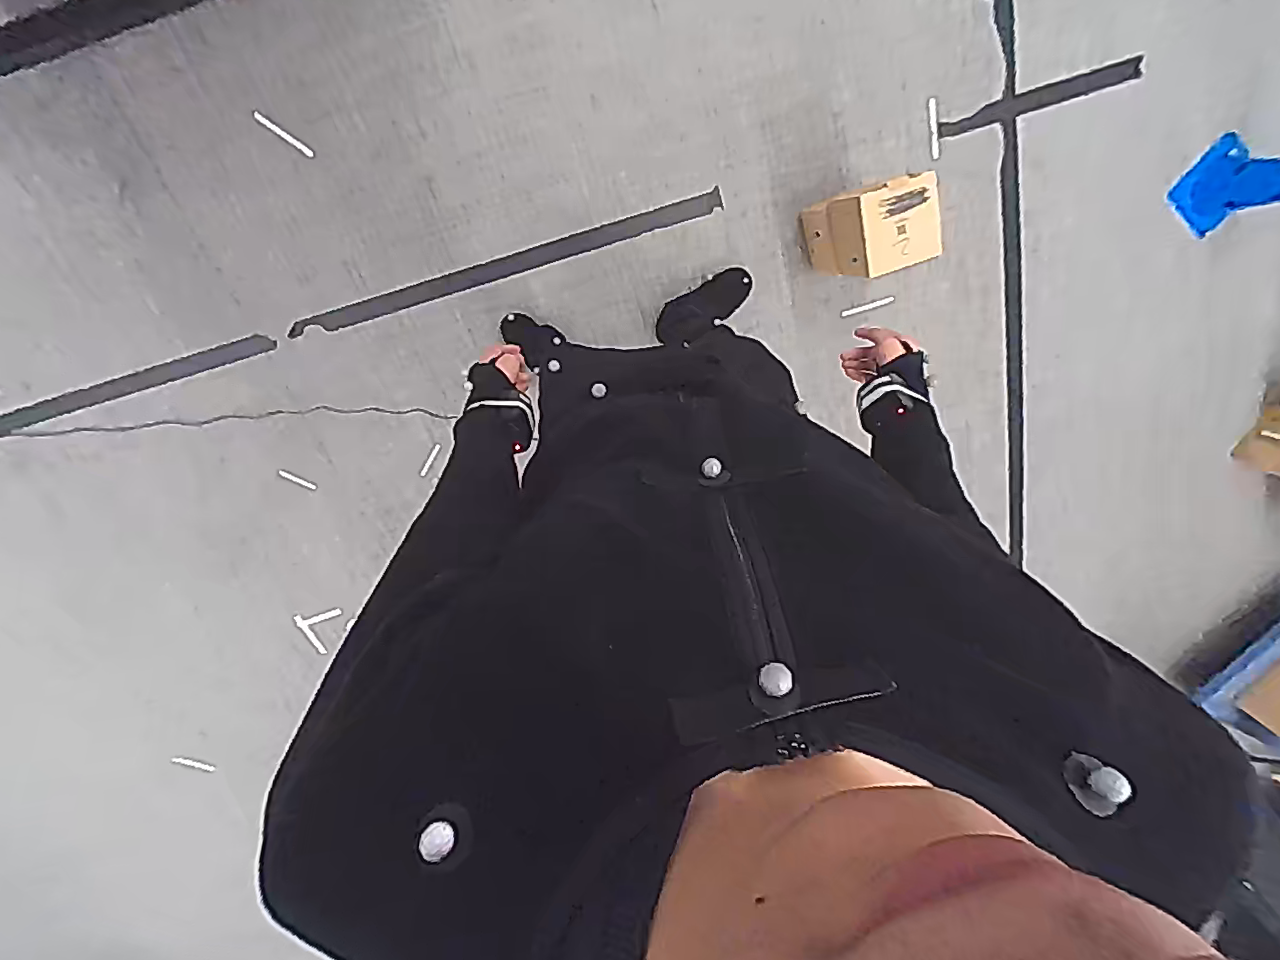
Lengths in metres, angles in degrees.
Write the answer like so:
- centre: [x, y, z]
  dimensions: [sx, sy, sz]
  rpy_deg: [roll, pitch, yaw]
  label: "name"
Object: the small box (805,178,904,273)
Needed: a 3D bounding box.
- centre: [0.536, -0.640, 1.376]
  dimensions: [0.179, 0.176, 0.168]
  rpy_deg: [-21, 114, 4]
  label: "small box"
